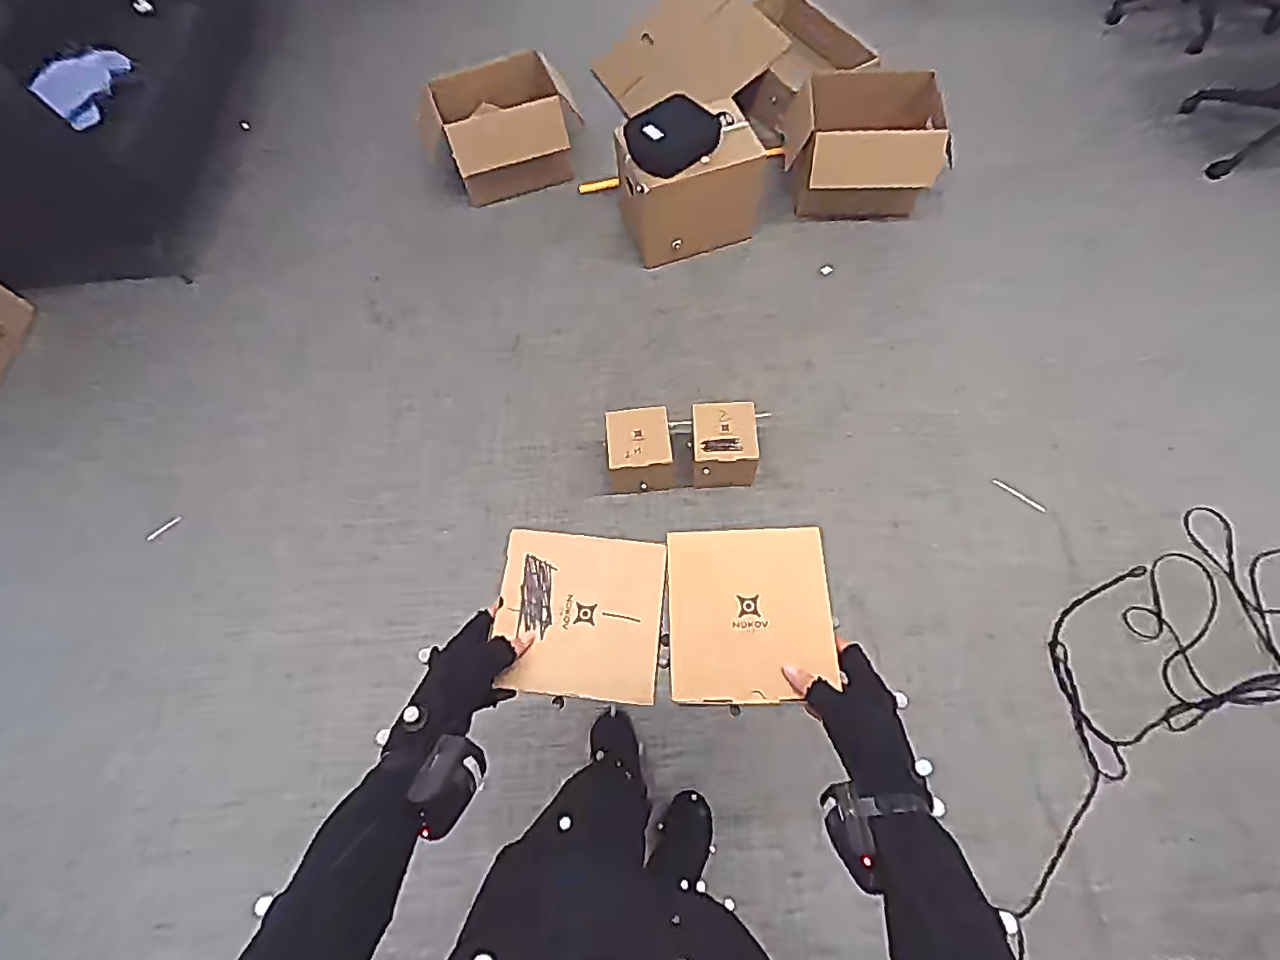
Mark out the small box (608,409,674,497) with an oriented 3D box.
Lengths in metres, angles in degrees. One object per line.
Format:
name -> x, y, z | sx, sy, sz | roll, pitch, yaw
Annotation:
small box -> 0.004, -0.071, 1.492 | 0.168, 0.176, 0.179 | -6, 65, 2
